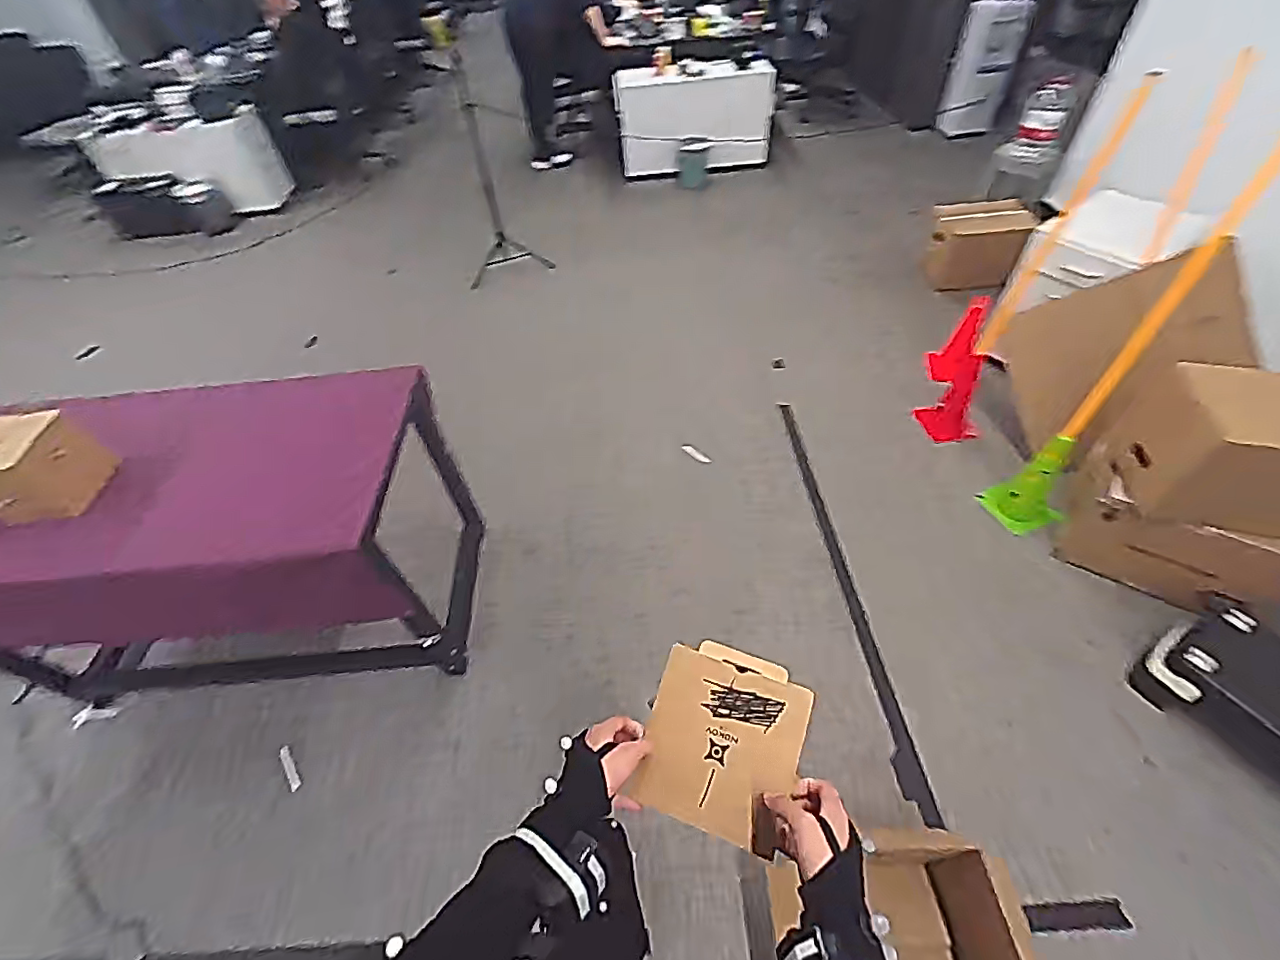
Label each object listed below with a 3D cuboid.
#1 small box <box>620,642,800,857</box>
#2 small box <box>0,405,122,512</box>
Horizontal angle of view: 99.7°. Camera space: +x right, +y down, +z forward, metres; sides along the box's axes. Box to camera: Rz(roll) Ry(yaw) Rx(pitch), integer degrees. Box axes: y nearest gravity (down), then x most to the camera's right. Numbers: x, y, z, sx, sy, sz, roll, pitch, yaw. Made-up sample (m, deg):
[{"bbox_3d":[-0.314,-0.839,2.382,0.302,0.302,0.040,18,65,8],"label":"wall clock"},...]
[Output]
[{"bbox_3d":[0.089,0.326,0.679,0.168,0.176,0.179,16,69,15],"label":"small box"},{"bbox_3d":[-1.338,-0.041,1.212,0.168,0.176,0.179,-5,49,-1],"label":"small box"}]
